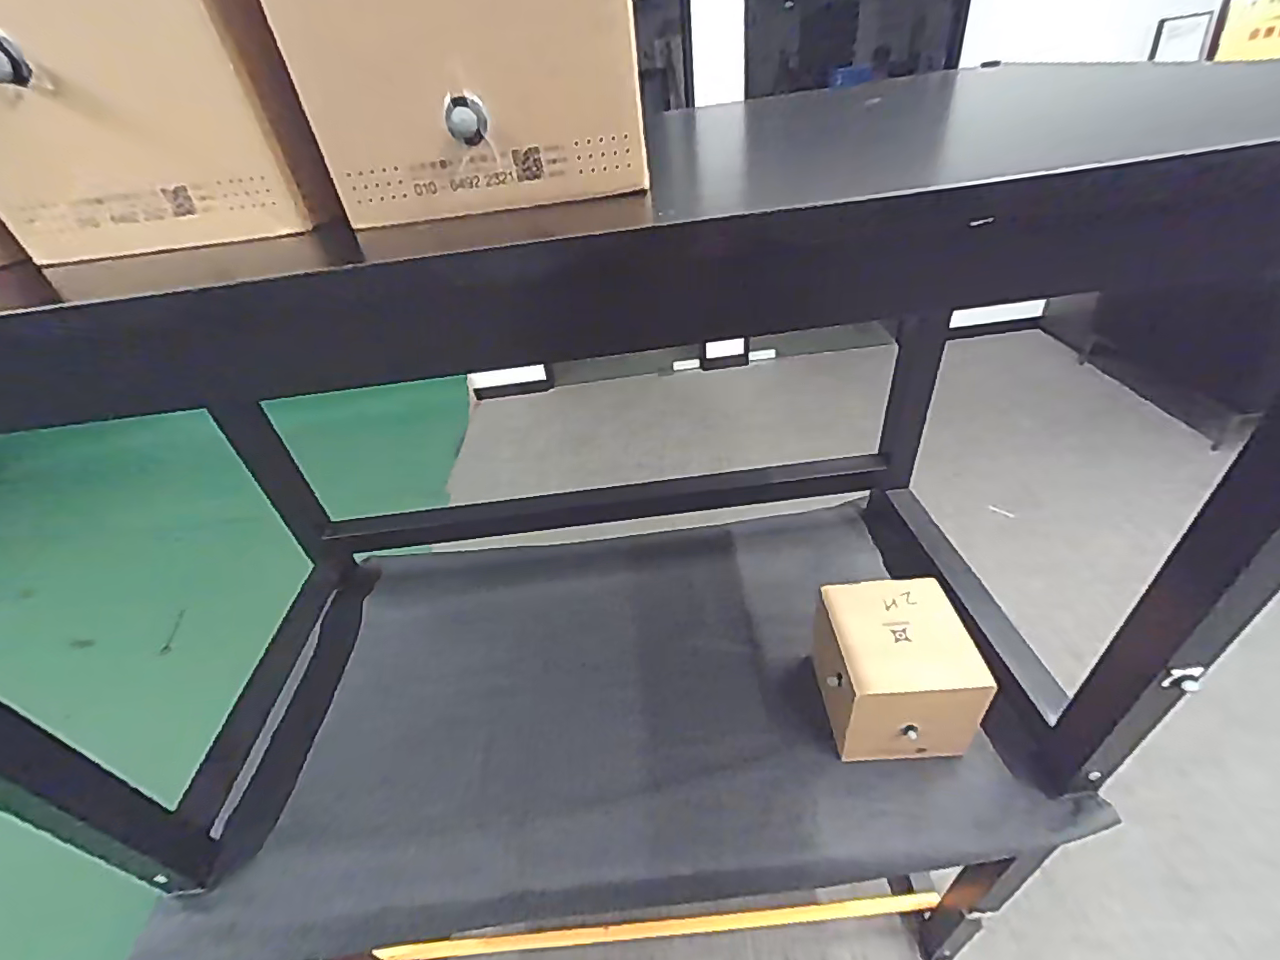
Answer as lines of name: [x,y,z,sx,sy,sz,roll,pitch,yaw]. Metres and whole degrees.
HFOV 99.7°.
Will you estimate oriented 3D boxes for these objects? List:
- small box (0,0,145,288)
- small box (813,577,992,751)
small box: [-0.475,-0.217,0.336,0.168,0.176,0.179,-6,38,3]
small box: [0.349,0.262,0.759,0.168,0.176,0.179,-5,37,4]
